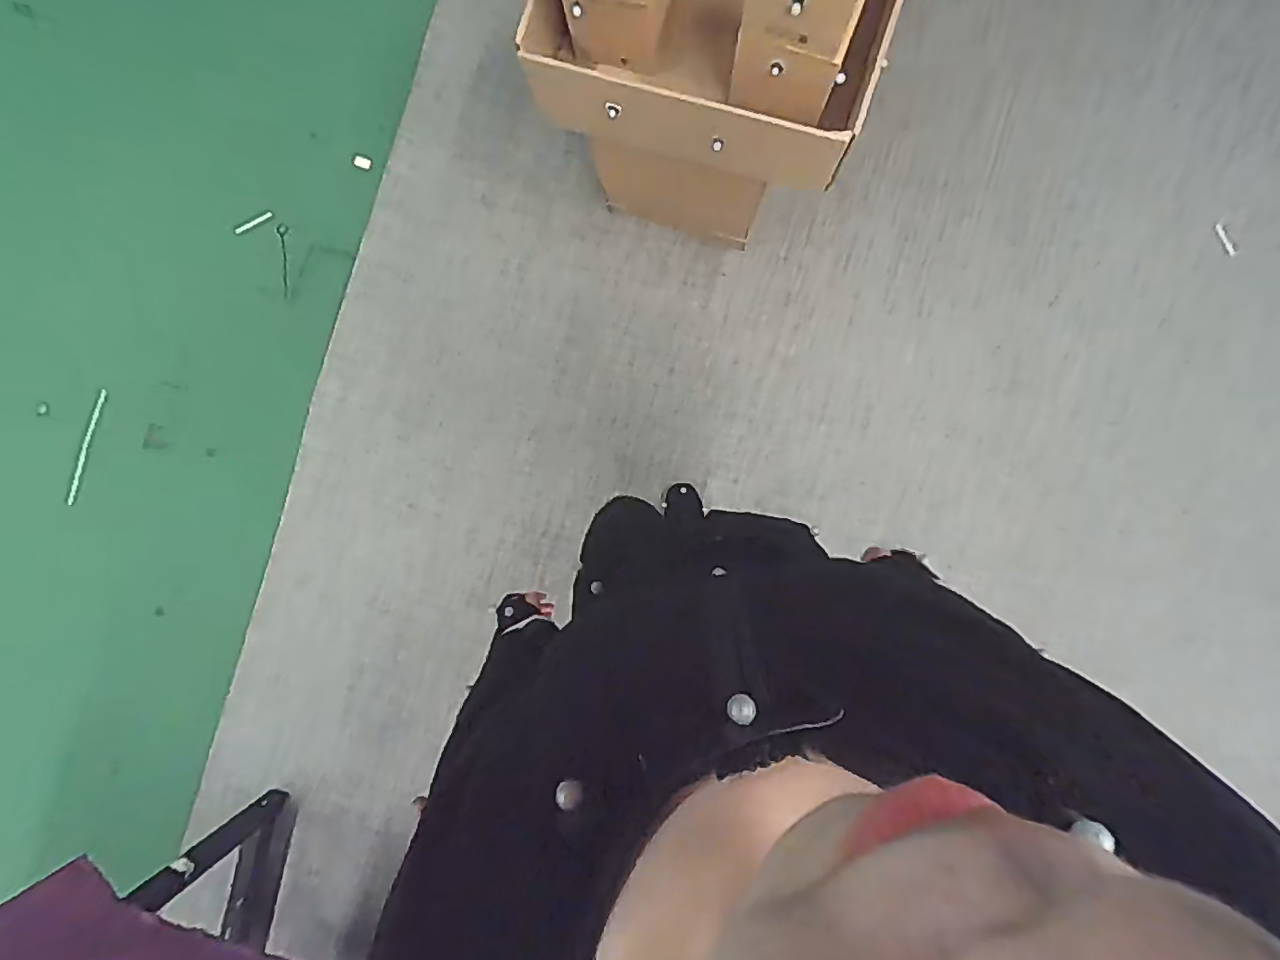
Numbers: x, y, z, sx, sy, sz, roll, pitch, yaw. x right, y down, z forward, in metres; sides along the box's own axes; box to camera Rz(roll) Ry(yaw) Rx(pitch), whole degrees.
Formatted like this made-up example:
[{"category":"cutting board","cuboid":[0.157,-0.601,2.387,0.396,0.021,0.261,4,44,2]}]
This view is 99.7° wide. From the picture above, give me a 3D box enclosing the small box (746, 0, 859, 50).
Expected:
[{"category":"small box","cuboid":[0.262,-0.784,0.784,0.168,0.176,0.179,20,91,4]}]
